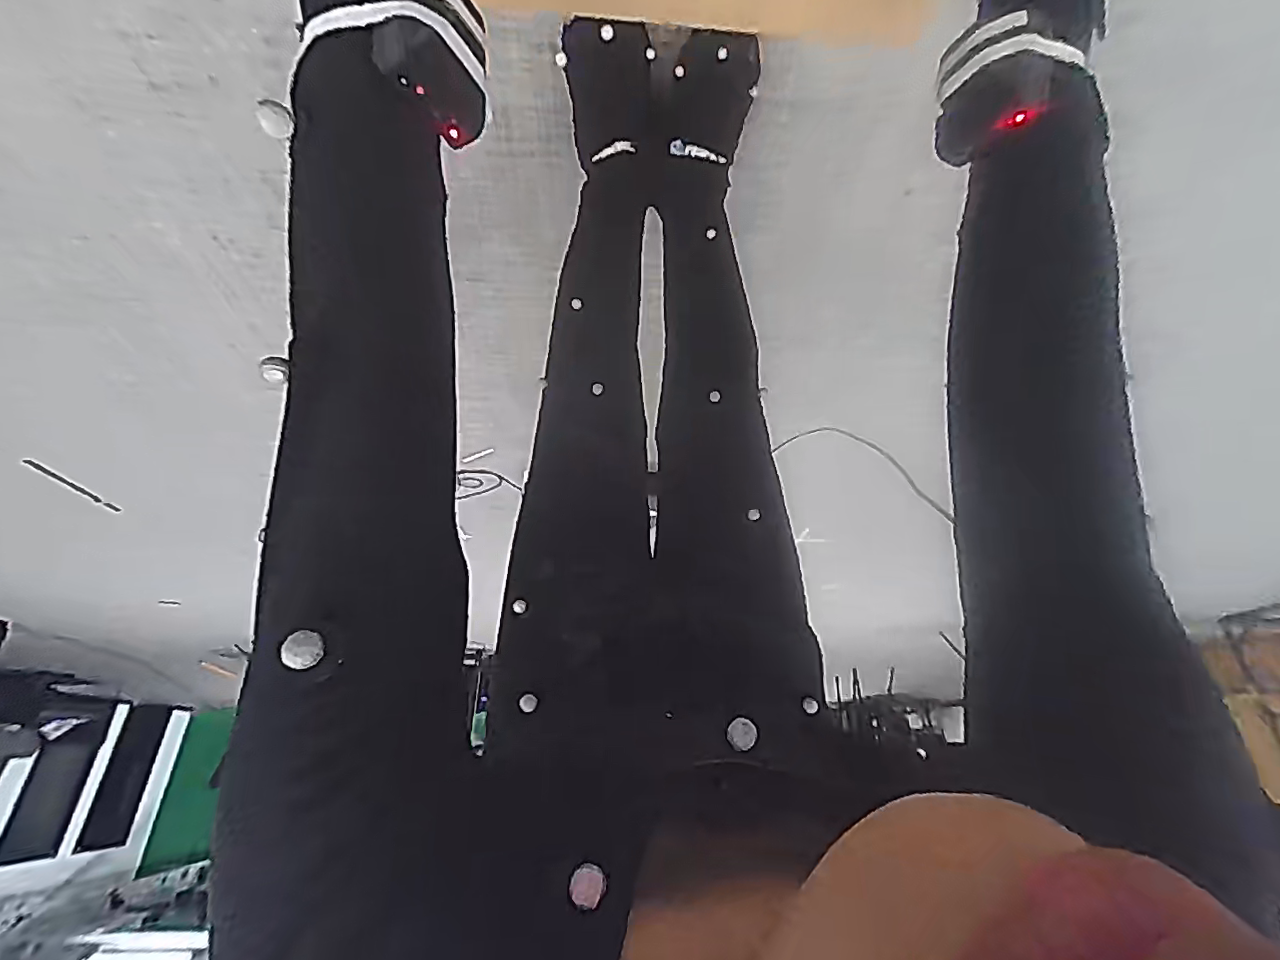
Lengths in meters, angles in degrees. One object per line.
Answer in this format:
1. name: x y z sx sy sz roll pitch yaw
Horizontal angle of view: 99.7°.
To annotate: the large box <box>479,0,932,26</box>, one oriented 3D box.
1. large box: 0.042 -0.580 0.366 0.408 0.320 0.320 1 156 -4
